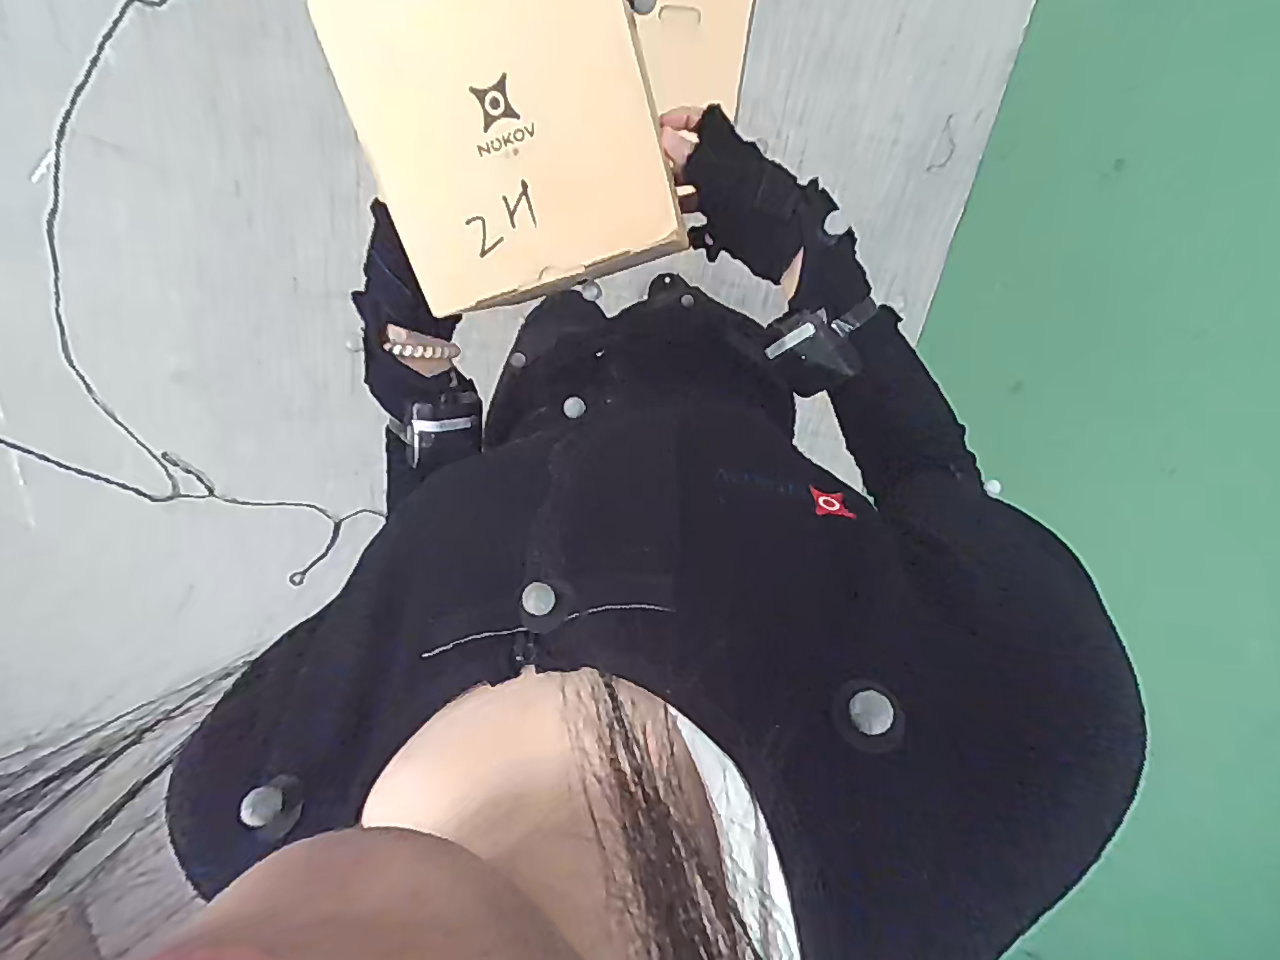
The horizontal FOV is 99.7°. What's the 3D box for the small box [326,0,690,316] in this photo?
[{"bbox_3d":[-0.064,-0.227,0.380,0.168,0.176,0.179,-13,109,12],"label":"small box"}]
